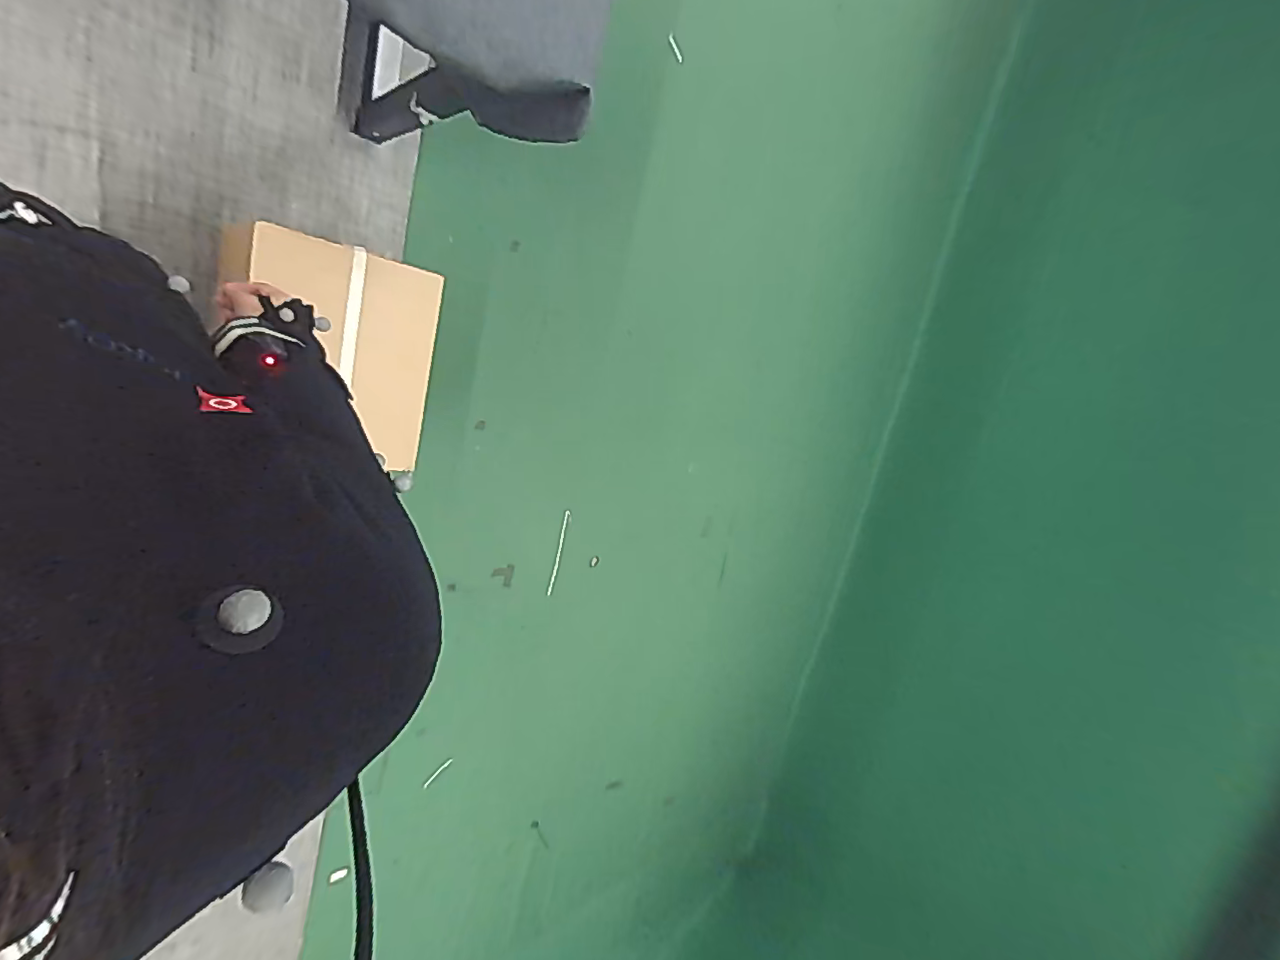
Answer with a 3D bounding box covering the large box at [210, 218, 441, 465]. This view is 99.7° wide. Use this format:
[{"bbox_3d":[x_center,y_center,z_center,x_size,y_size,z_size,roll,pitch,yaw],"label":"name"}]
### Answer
[{"bbox_3d":[-0.637,-0.267,1.084,0.320,0.320,0.408,2,107,-46],"label":"large box"}]
